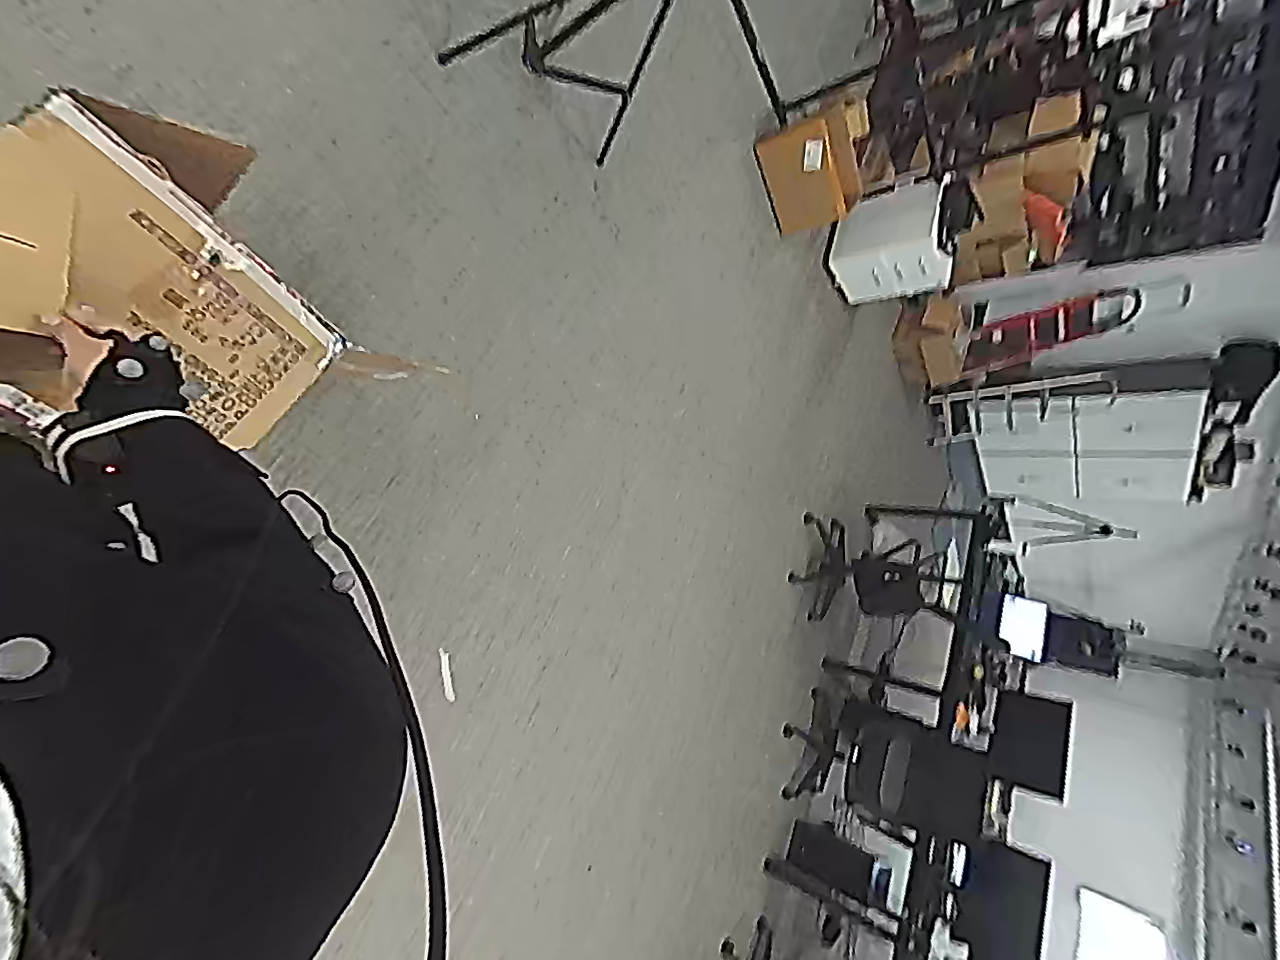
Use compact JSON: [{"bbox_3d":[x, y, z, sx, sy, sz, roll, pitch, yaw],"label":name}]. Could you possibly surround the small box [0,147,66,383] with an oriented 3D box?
[{"bbox_3d":[-0.635,-0.195,0.472,0.179,0.176,0.168,4,78,-48],"label":"small box"}]
